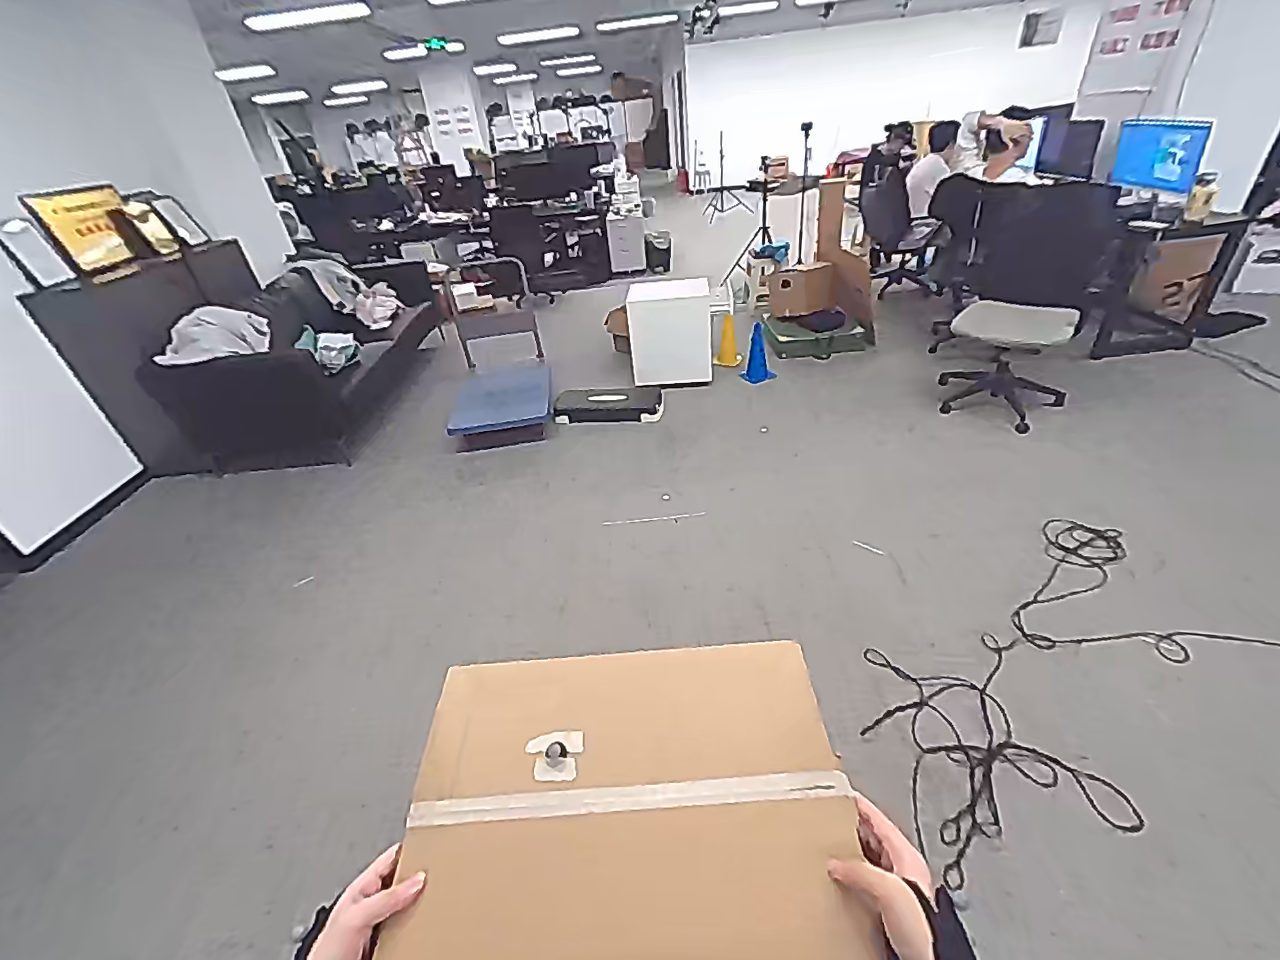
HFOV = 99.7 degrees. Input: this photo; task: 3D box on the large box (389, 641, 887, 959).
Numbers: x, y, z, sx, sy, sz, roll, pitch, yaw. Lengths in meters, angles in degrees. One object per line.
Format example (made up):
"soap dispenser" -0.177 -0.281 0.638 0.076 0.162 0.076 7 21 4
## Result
"large box" 0.005 0.418 0.608 0.408 0.320 0.320 -7 39 3
